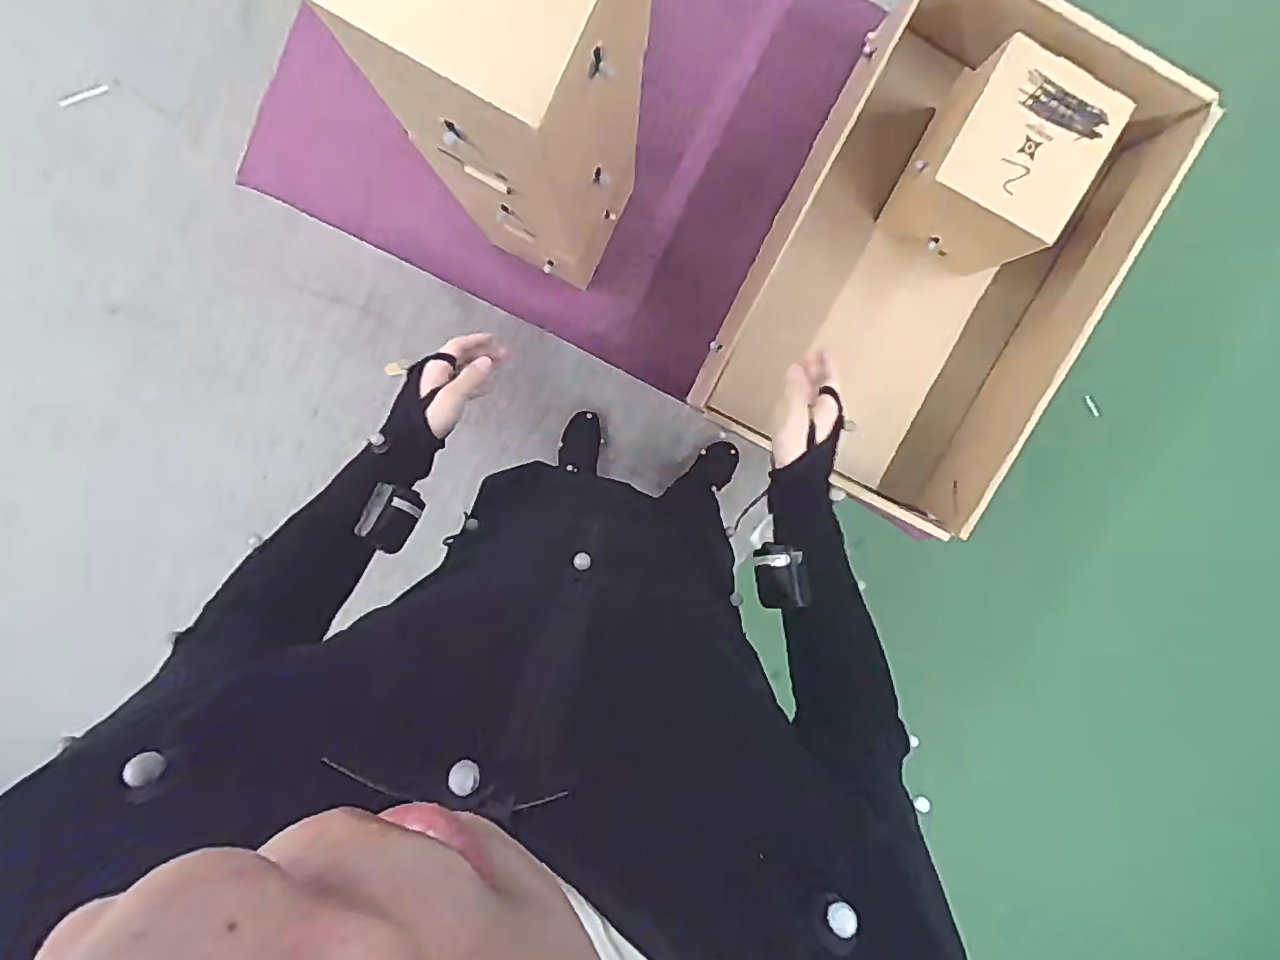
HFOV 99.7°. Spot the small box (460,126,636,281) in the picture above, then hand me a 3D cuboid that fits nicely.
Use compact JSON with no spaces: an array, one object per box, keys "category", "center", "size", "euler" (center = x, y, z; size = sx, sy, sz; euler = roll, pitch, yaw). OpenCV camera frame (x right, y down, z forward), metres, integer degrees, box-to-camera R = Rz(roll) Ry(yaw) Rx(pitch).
[{"category":"small box","center":[-0.115,-0.401,0.741],"size":[0.168,0.176,0.179],"euler":[27,95,-5]}]

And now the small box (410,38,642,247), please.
[{"category":"small box","center":[-0.108,-0.381,0.579],"size":[0.168,0.176,0.179],"euler":[26,97,-6]}]

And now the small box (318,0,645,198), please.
[{"category":"small box","center":[-0.099,-0.357,0.415],"size":[0.168,0.176,0.179],"euler":[27,96,-6]}]
